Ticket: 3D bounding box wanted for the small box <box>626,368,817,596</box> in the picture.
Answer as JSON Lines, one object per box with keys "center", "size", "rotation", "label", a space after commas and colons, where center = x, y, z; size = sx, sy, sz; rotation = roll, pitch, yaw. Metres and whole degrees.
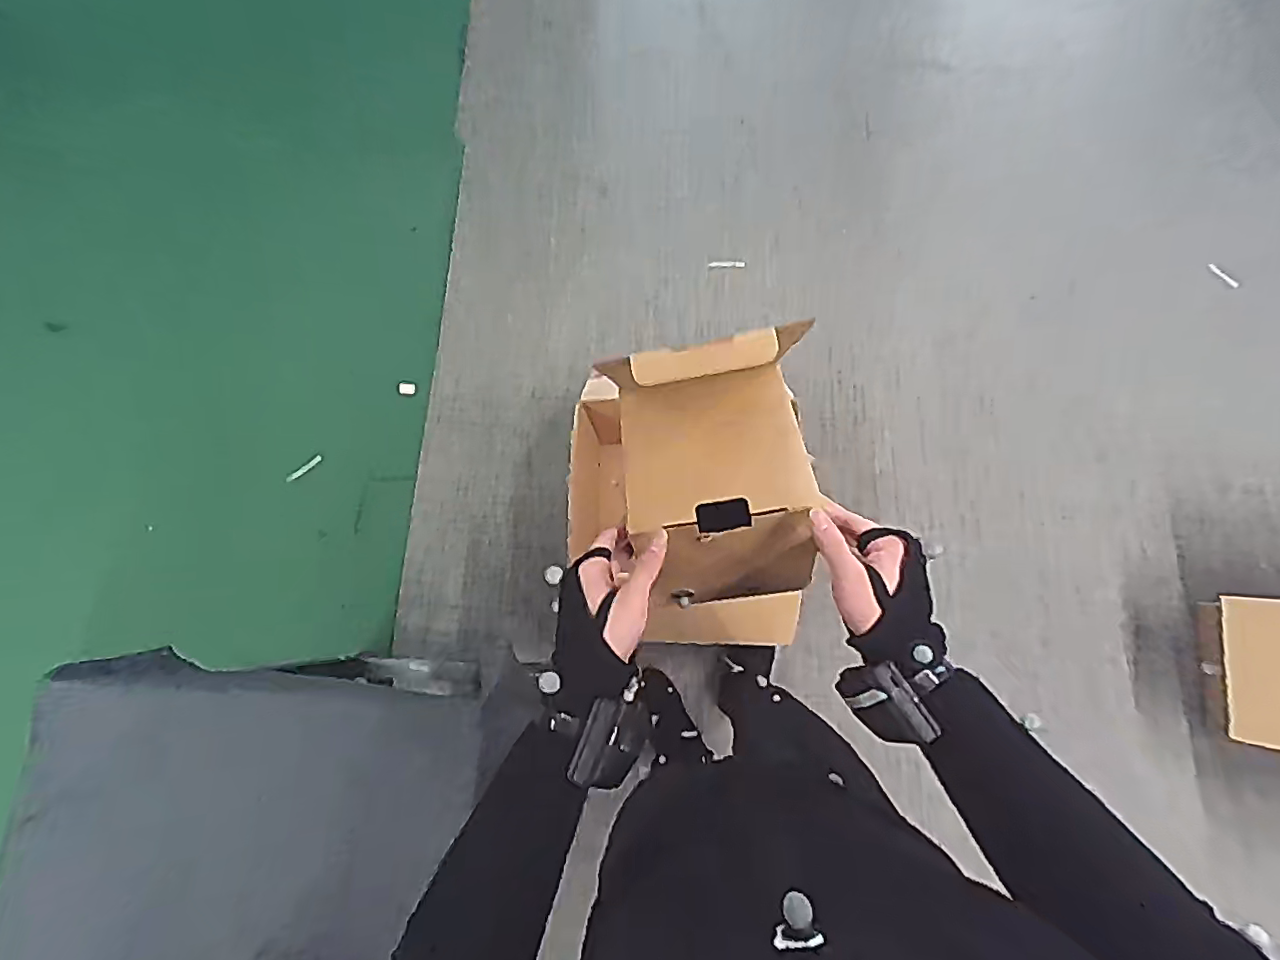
{"center": [0.081, 0.012, 0.574], "size": [0.168, 0.176, 0.179], "rotation": [-7, 52, 6], "label": "small box"}
